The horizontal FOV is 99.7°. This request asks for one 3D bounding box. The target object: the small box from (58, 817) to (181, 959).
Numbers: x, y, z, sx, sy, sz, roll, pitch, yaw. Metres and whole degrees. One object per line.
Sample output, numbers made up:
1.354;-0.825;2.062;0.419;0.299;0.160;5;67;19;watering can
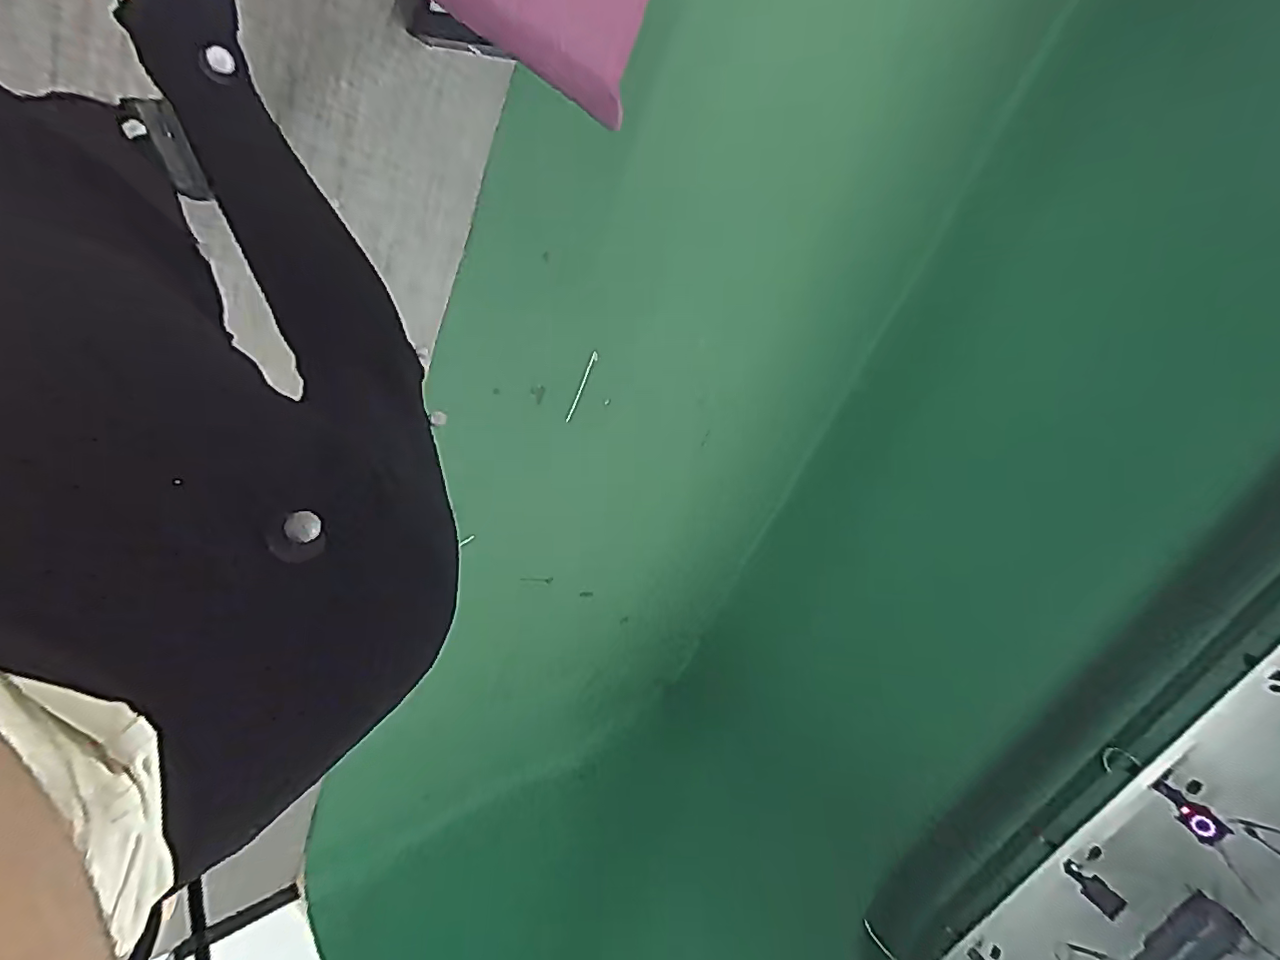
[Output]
-1.134;0.888;1.176;0.168;0.176;0.179;3;119;-52;small box
